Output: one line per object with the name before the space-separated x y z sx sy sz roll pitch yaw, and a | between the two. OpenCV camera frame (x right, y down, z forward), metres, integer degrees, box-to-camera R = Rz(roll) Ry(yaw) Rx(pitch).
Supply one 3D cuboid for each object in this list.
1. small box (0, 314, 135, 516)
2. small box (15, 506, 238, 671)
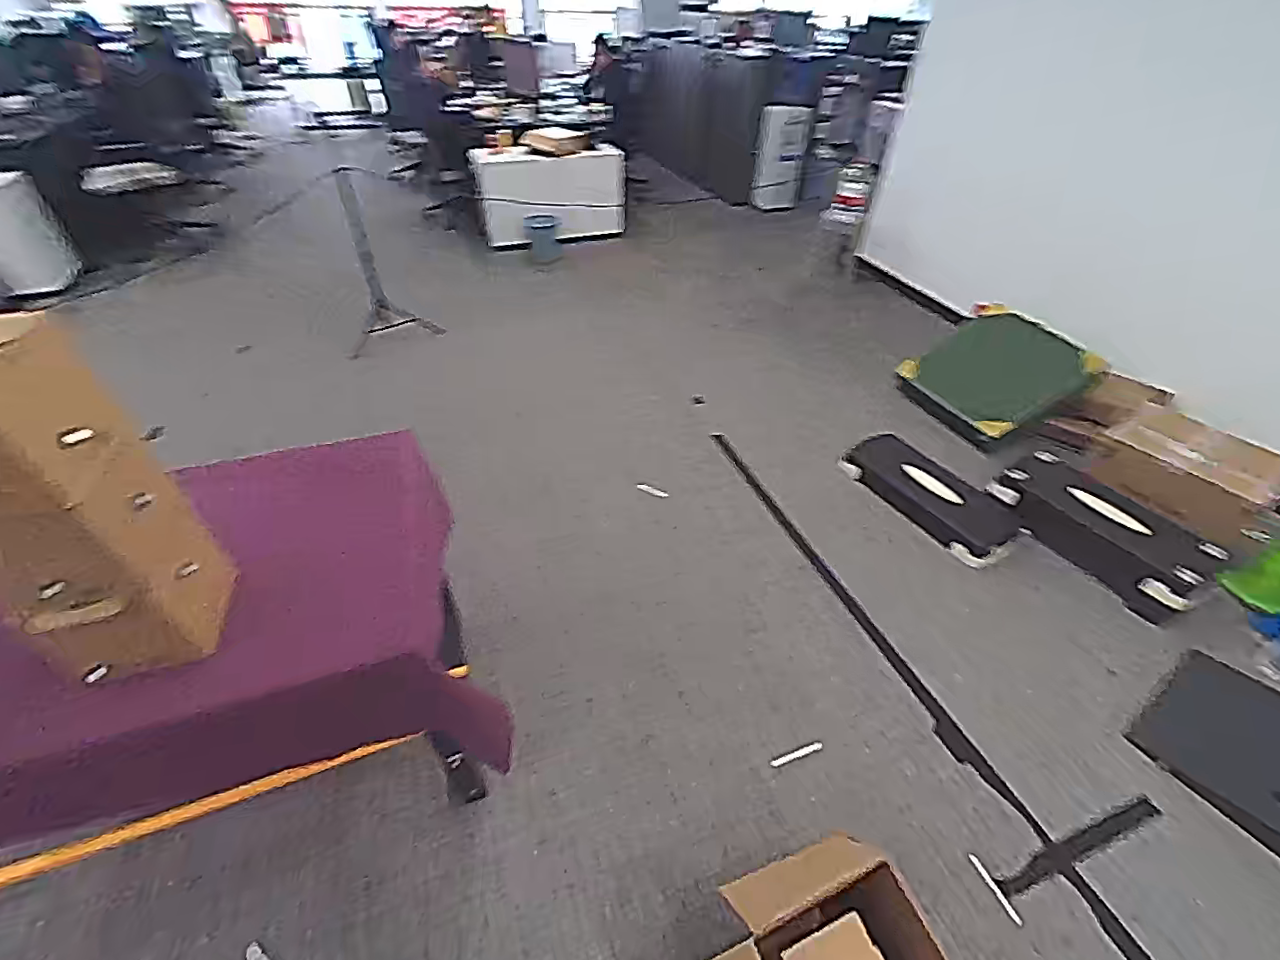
small box | -0.746 -0.068 0.609 0.179 0.176 0.168 -8 44 -12
small box | -0.761 0.170 0.831 0.168 0.176 0.179 -10 43 -13
